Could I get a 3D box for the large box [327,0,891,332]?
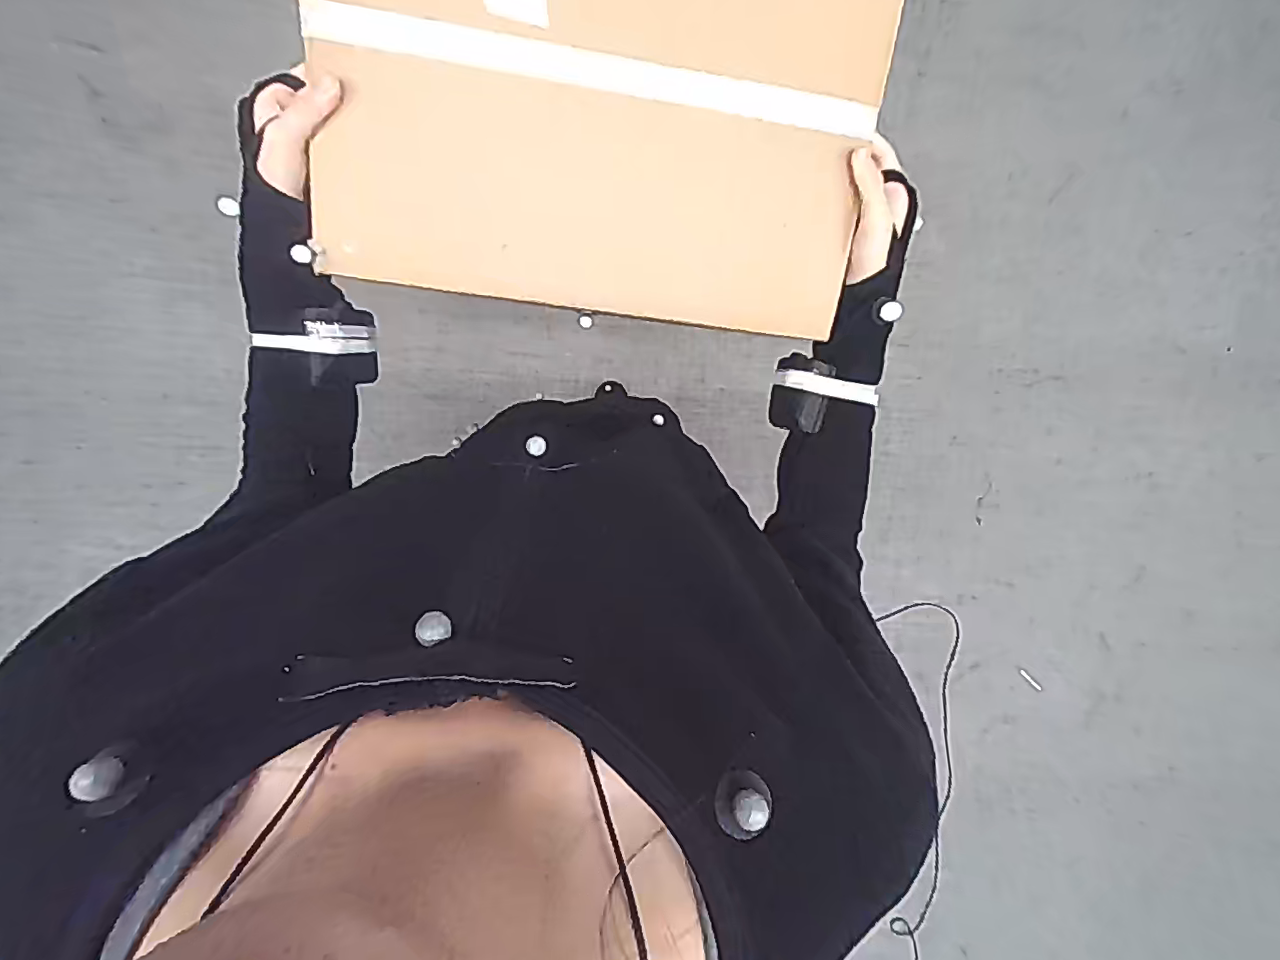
[{"bbox_3d":[-0.033,-0.337,0.540,0.408,0.320,0.320,6,107,-7],"label":"large box"}]
